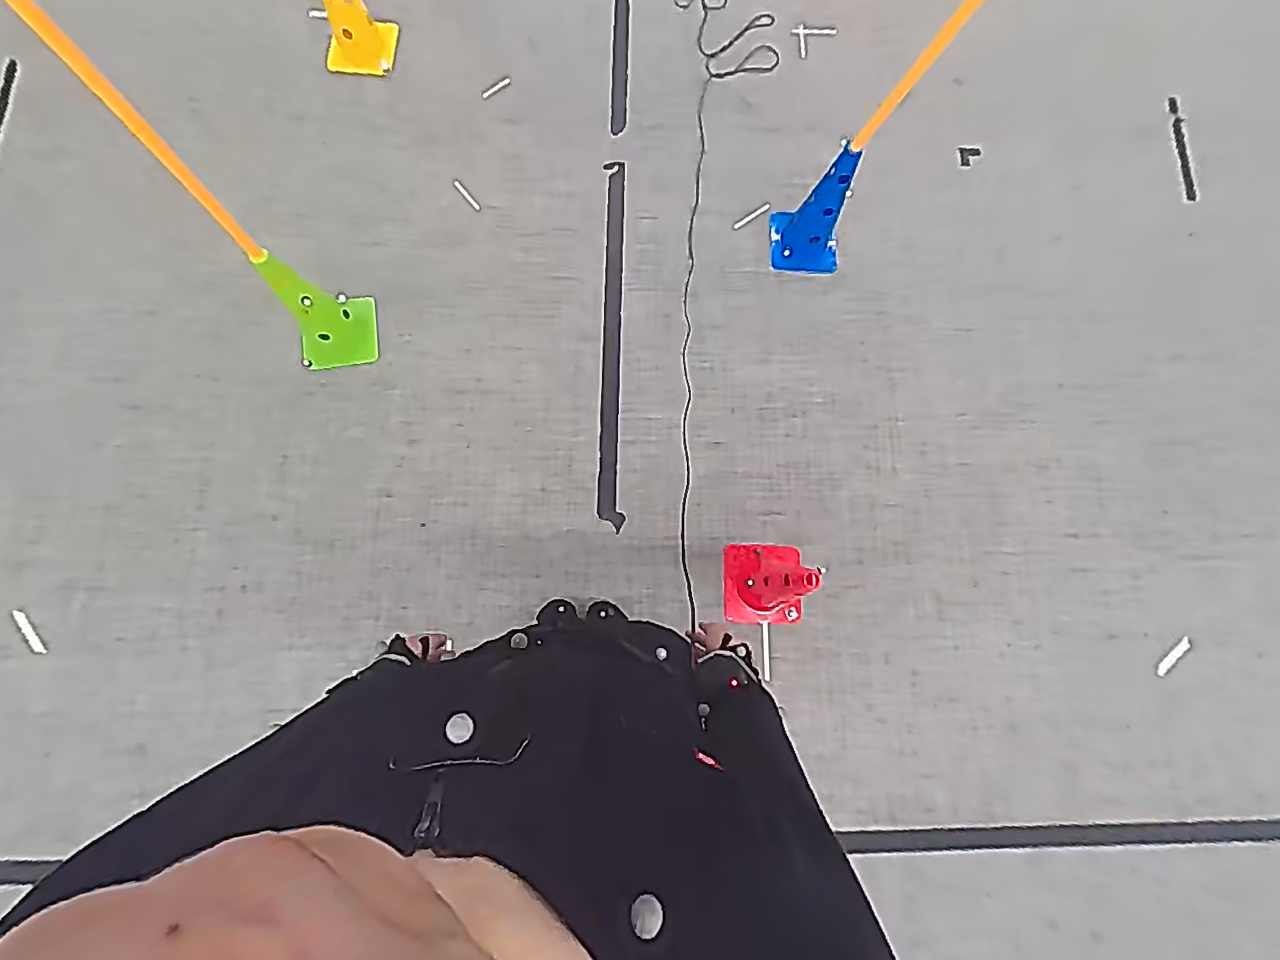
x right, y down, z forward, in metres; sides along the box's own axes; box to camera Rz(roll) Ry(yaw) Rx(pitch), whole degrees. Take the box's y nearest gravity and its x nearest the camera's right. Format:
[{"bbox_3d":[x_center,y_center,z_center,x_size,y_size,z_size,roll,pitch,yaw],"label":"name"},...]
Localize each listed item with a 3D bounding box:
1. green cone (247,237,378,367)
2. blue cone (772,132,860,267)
[{"bbox_3d":[-0.822,-0.455,1.325,0.200,0.368,0.202,-9,76,-5],"label":"green cone"},{"bbox_3d":[0.500,-0.765,1.466,0.193,0.380,0.192,4,77,-2],"label":"blue cone"}]
